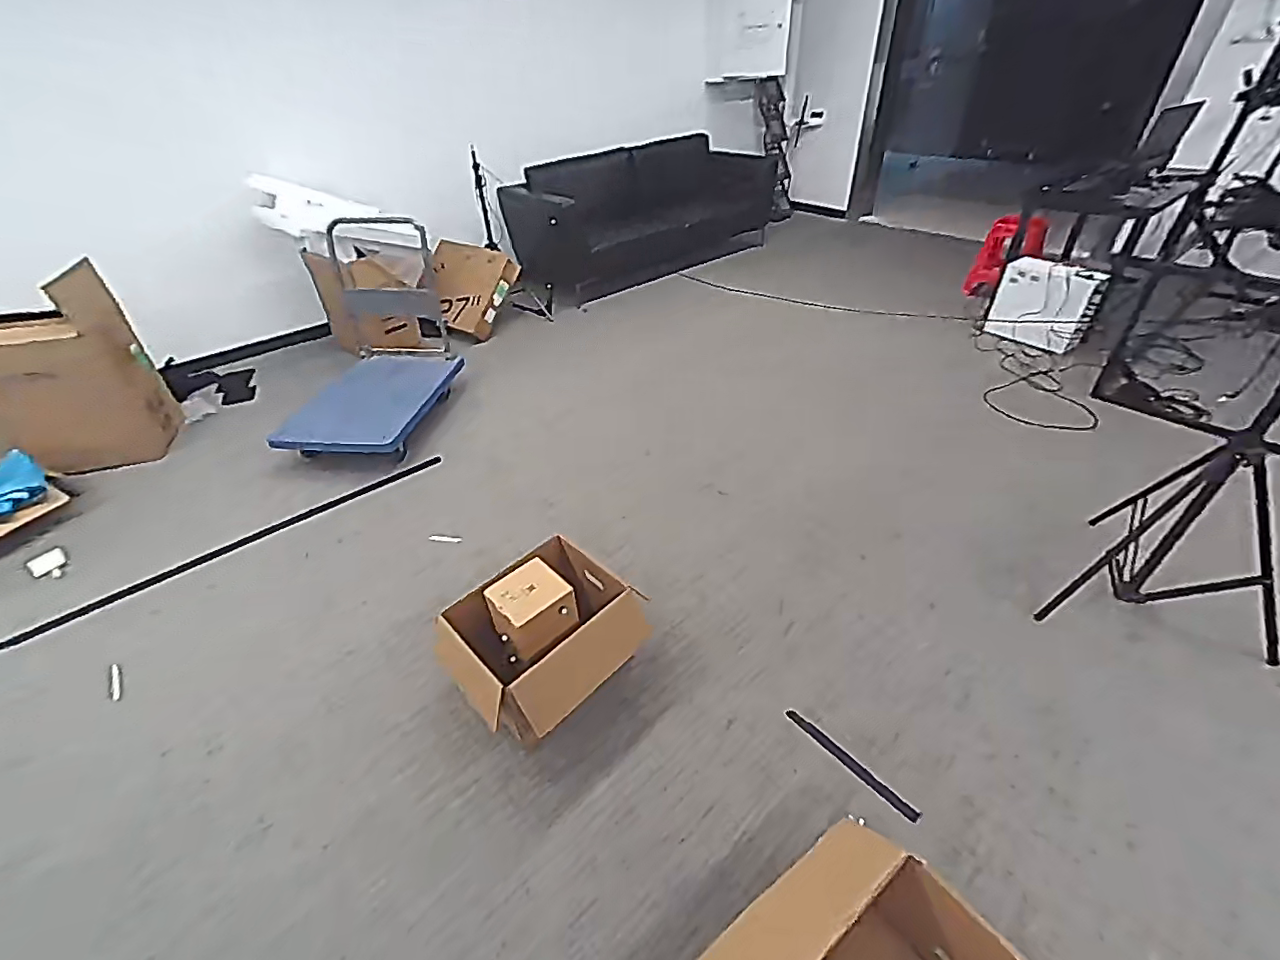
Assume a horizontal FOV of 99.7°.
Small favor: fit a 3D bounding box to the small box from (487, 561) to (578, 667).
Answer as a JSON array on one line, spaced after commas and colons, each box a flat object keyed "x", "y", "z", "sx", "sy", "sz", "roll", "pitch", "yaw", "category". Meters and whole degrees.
[{"x": -0.282, "y": 0.359, "z": 1.450, "sx": 0.179, "sy": 0.176, "sz": 0.168, "roll": -32, "pitch": 46, "yaw": -31, "category": "small box"}]
